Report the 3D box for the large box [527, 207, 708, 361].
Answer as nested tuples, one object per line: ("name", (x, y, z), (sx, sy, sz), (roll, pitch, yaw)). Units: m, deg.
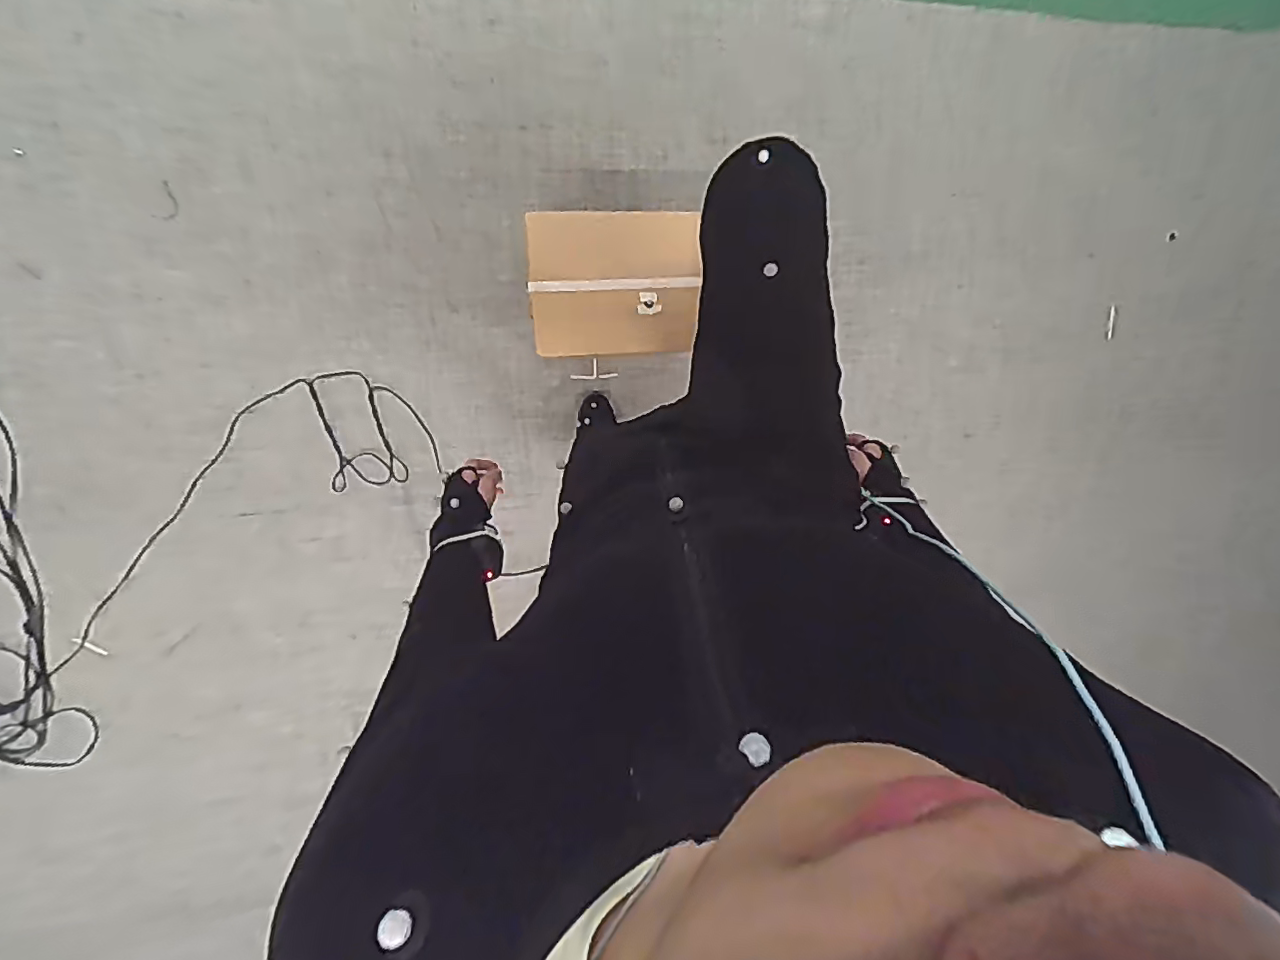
("large box", (-0.069, -0.485, 1.394), (0.408, 0.320, 0.320), (-6, 101, -9))
